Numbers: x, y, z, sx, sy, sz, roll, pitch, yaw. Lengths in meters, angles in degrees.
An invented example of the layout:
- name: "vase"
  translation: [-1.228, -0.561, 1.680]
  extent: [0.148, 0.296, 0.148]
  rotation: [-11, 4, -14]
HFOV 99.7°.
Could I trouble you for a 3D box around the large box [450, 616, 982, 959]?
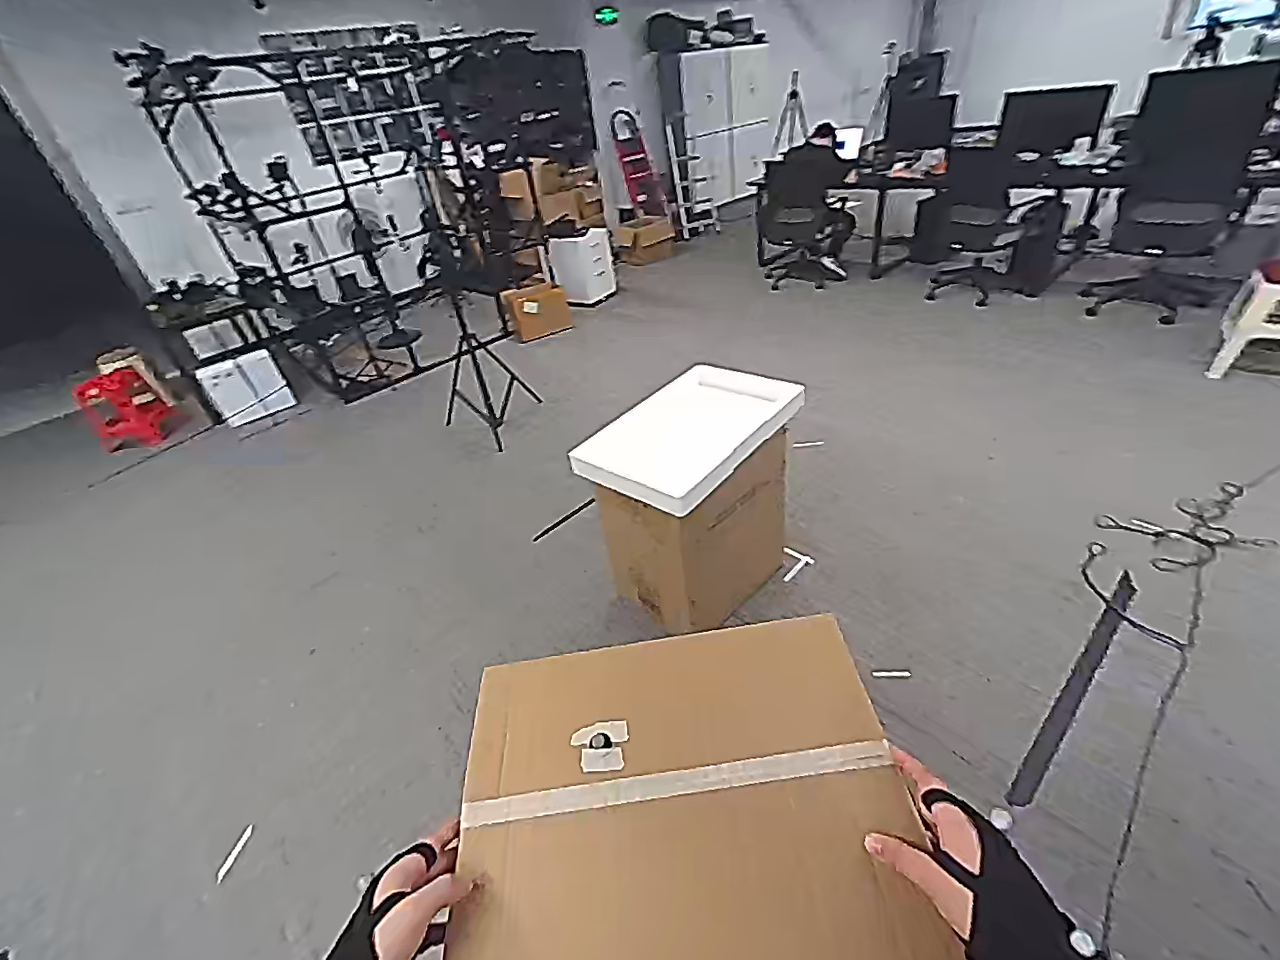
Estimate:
- name: "large box"
  translation: [0.061, 0.396, 0.590]
  extent: [0.408, 0.320, 0.320]
  rotation: [-11, 39, 3]
